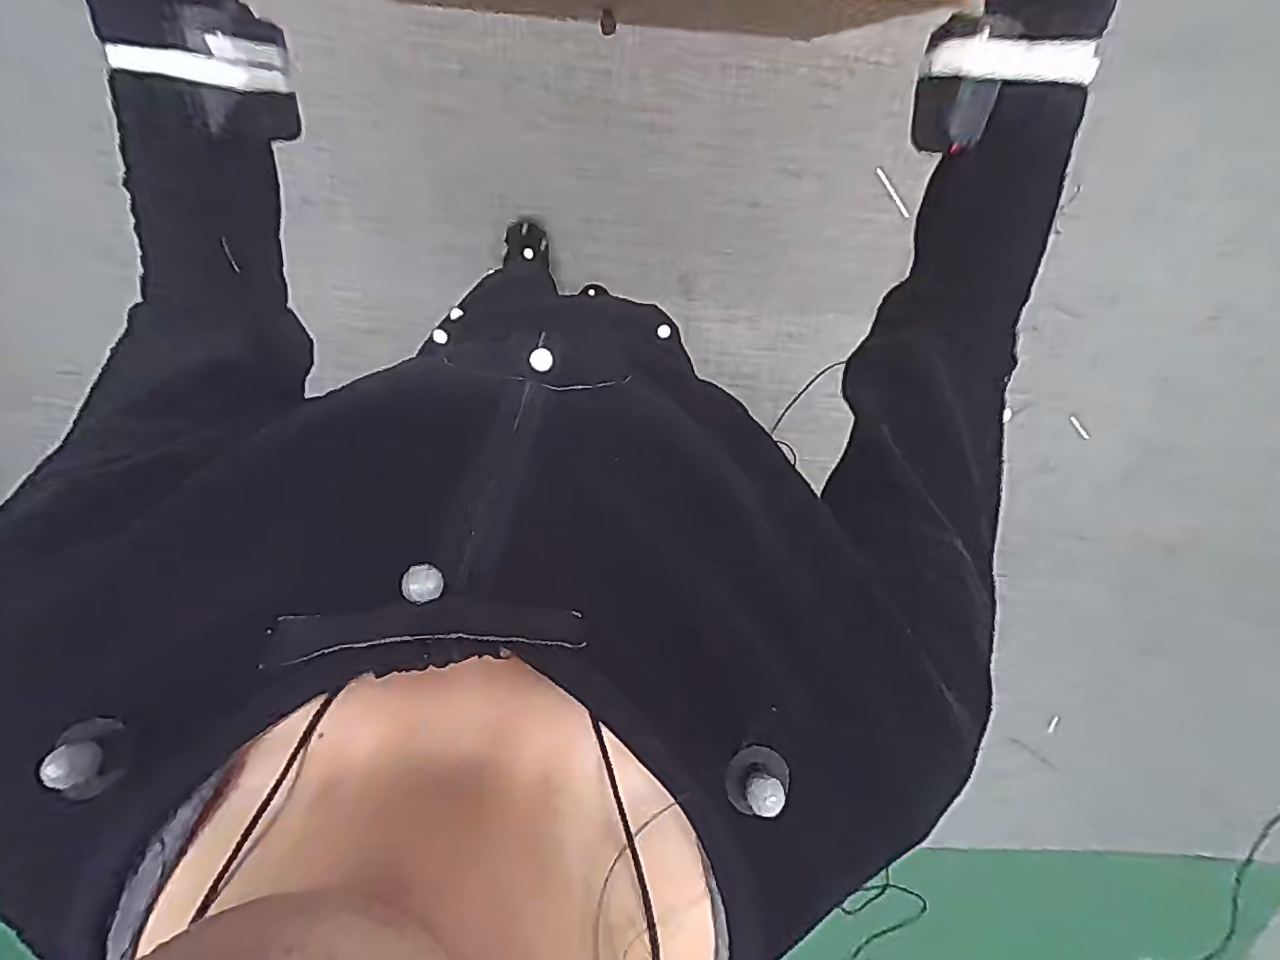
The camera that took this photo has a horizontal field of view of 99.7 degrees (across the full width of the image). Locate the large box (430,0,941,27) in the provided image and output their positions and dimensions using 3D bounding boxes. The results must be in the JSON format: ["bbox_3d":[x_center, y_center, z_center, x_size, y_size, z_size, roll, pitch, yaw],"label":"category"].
[{"bbox_3d":[-0.010,-0.489,0.324,0.408,0.320,0.320,3,126,-3],"label":"large box"}]
